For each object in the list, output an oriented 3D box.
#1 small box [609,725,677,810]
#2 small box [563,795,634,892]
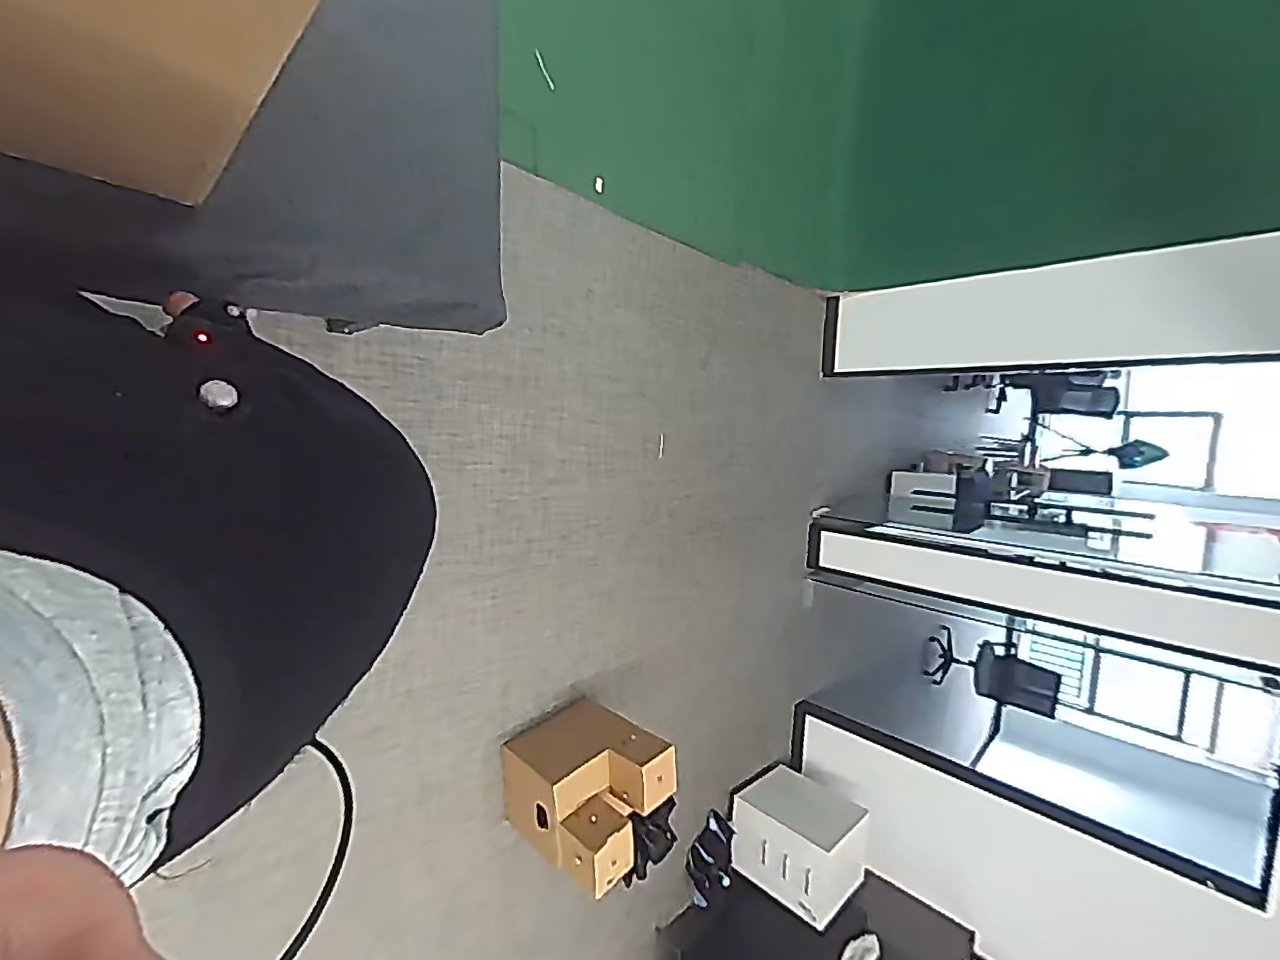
[{"bbox_3d":[0.008,0.994,1.885,0.168,0.176,0.179,-11,100,-46],"label":"small box"},{"bbox_3d":[-0.137,1.165,1.756,0.168,0.176,0.179,-15,108,-44],"label":"small box"}]
